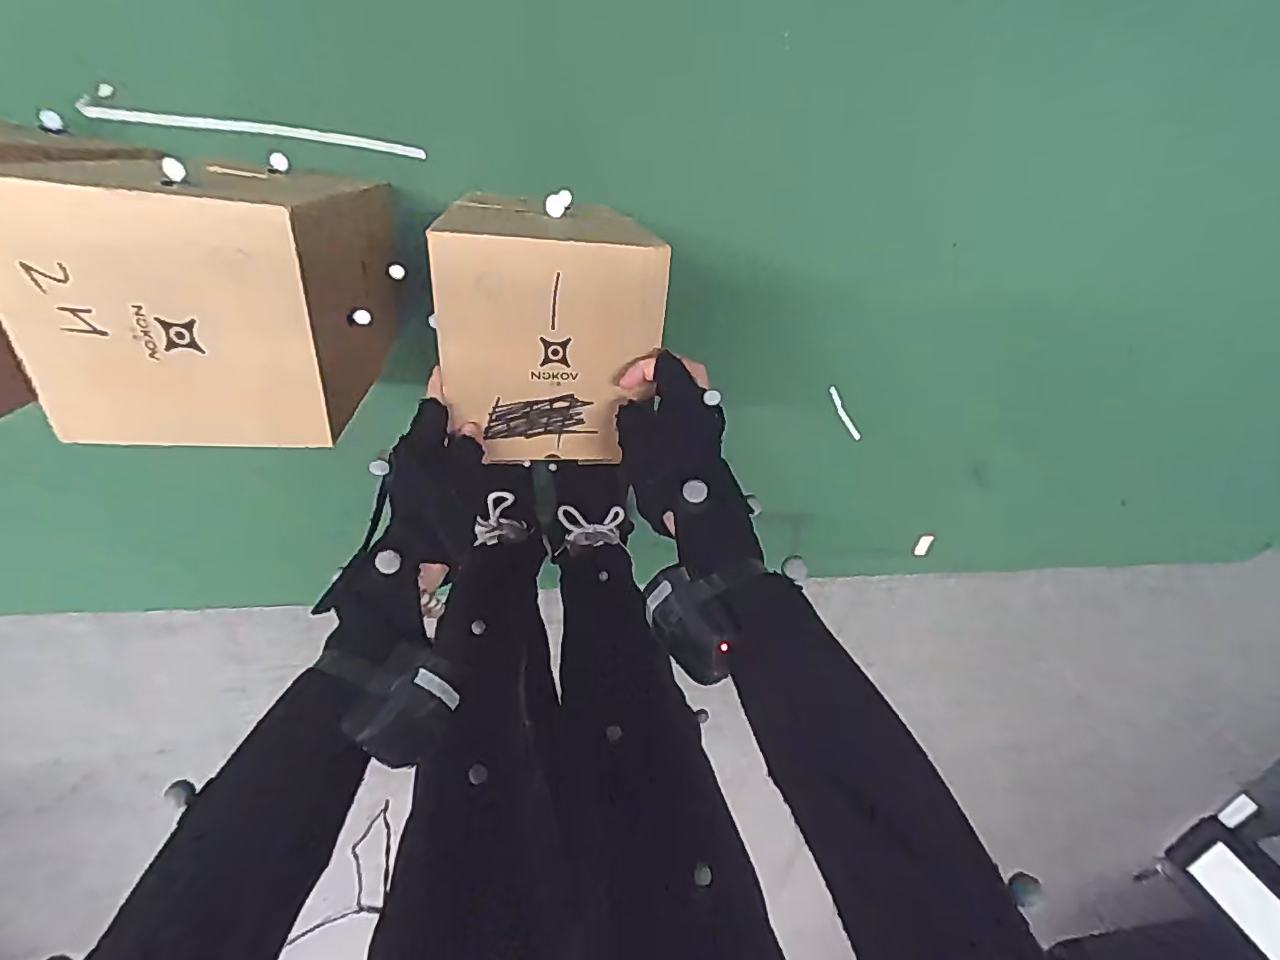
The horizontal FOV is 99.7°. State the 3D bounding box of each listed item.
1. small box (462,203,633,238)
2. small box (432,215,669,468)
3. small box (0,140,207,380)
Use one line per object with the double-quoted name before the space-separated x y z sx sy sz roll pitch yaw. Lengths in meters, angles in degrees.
"small box" -0.109 -0.212 0.620 0.168 0.176 0.179 -1 122 -11
"small box" -0.080 -0.127 0.482 0.168 0.176 0.179 -2 121 -12
"small box" -0.565 -0.215 0.523 0.168 0.176 0.179 3 120 -13
